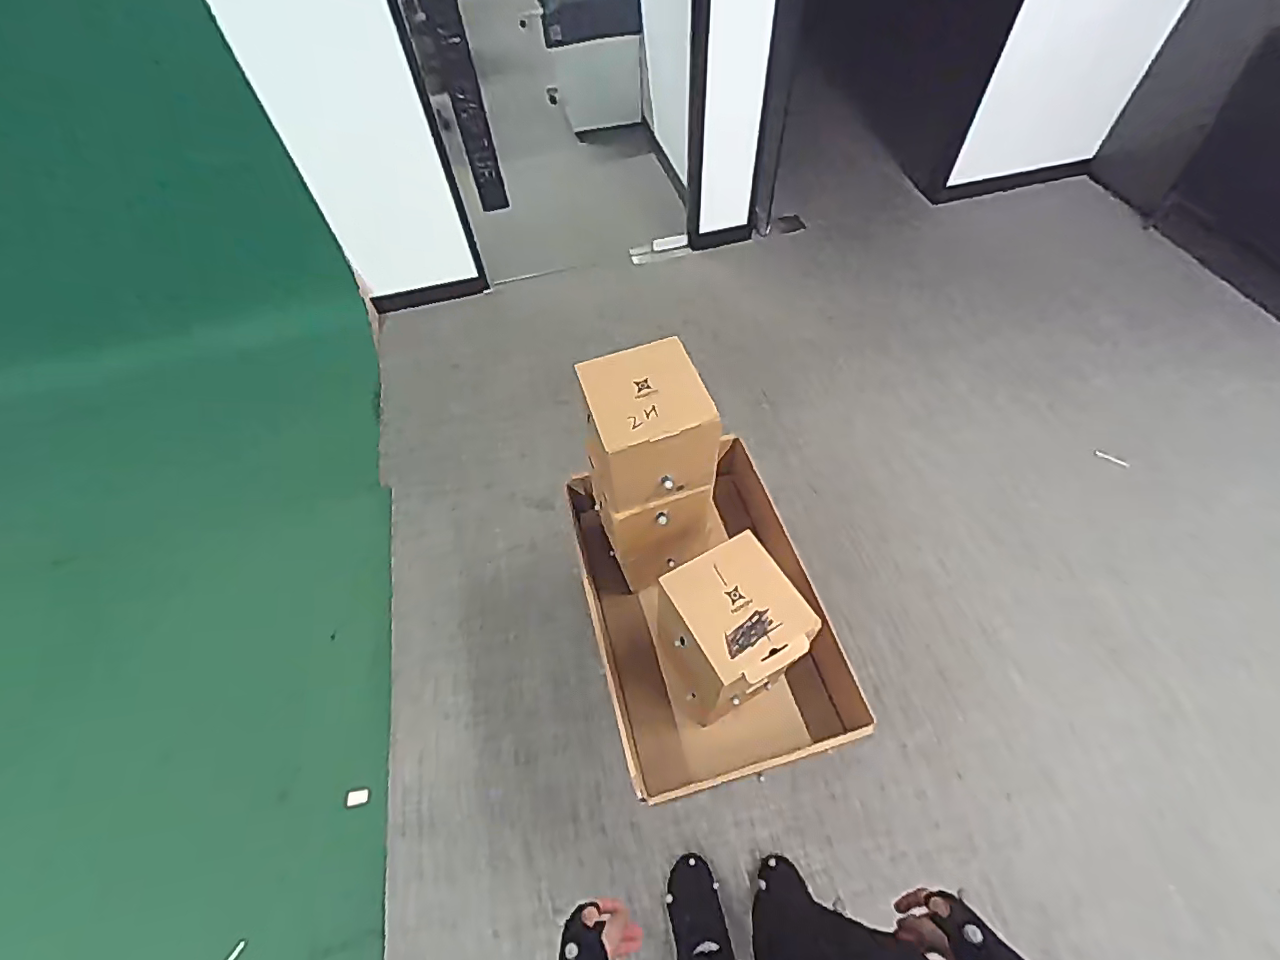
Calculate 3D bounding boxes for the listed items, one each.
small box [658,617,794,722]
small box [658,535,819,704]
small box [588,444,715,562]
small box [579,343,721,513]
[{"bbox_3d":[0.147,0.312,0.971,0.168,0.176,0.179,-25,58,-14],"label":"small box"},{"bbox_3d":[0.141,0.223,0.833,0.168,0.176,0.179,-25,58,-14],"label":"small box"},{"bbox_3d":[0.019,0.023,0.972,0.179,0.176,0.168,-19,58,-8],"label":"small box"},{"bbox_3d":[0.013,-0.077,0.840,0.168,0.176,0.179,-17,58,-6],"label":"small box"}]
